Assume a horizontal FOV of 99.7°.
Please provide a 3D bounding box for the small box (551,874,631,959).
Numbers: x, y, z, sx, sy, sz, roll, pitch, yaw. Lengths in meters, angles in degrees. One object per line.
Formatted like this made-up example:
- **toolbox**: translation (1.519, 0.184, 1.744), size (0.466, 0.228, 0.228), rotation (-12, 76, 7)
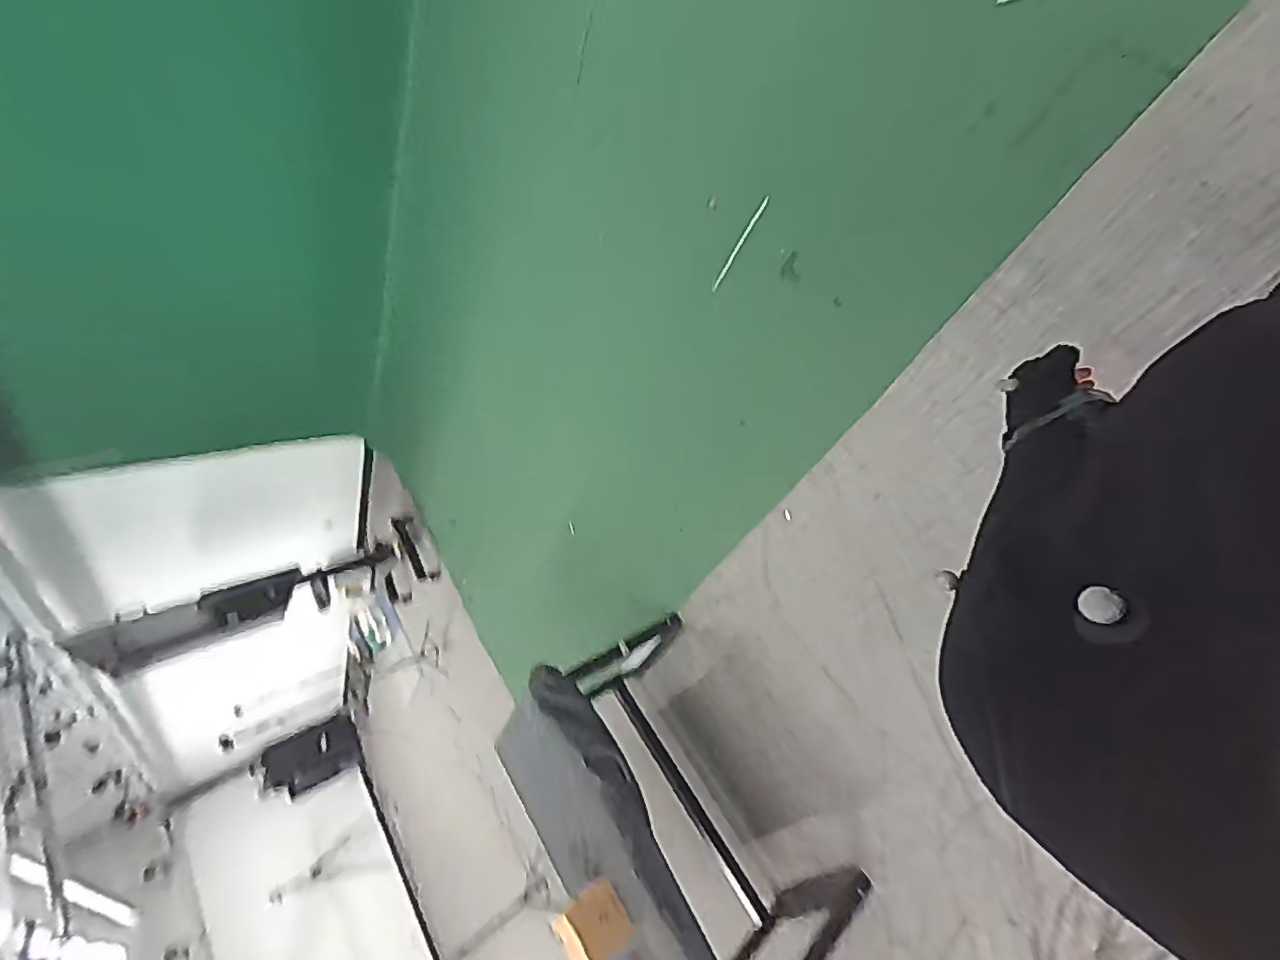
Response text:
- **small box**: translation (-0.151, 1.392, 1.714), size (0.168, 0.176, 0.179), rotation (53, 135, 22)
